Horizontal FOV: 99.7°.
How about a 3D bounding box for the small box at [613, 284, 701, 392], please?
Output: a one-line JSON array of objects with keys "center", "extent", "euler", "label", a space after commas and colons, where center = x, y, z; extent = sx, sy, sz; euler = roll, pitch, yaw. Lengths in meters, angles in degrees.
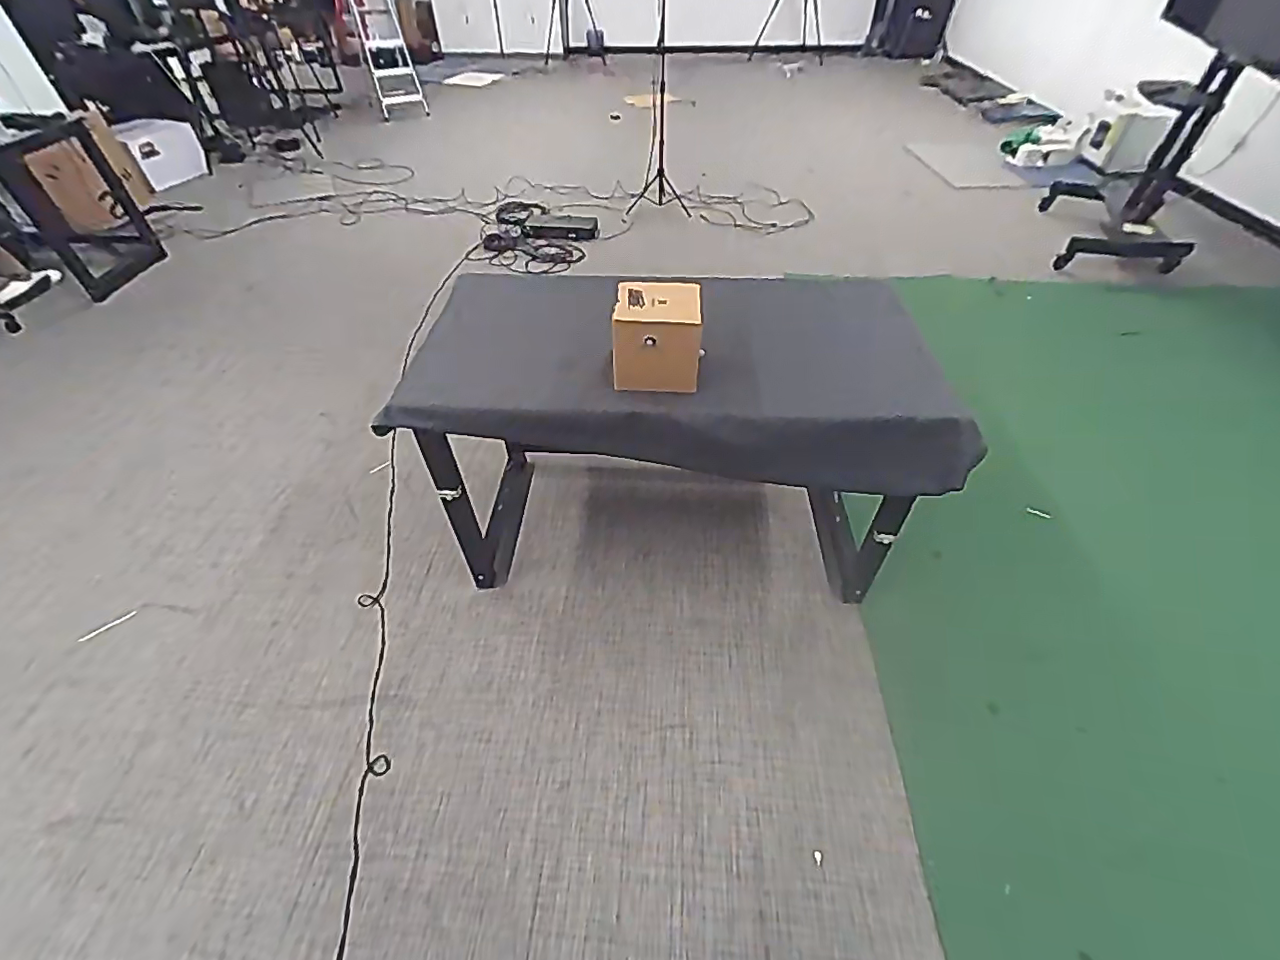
[{"center": [0.038, -0.306, 1.172], "extent": [0.179, 0.176, 0.168], "euler": [3, 46, 2], "label": "small box"}]
